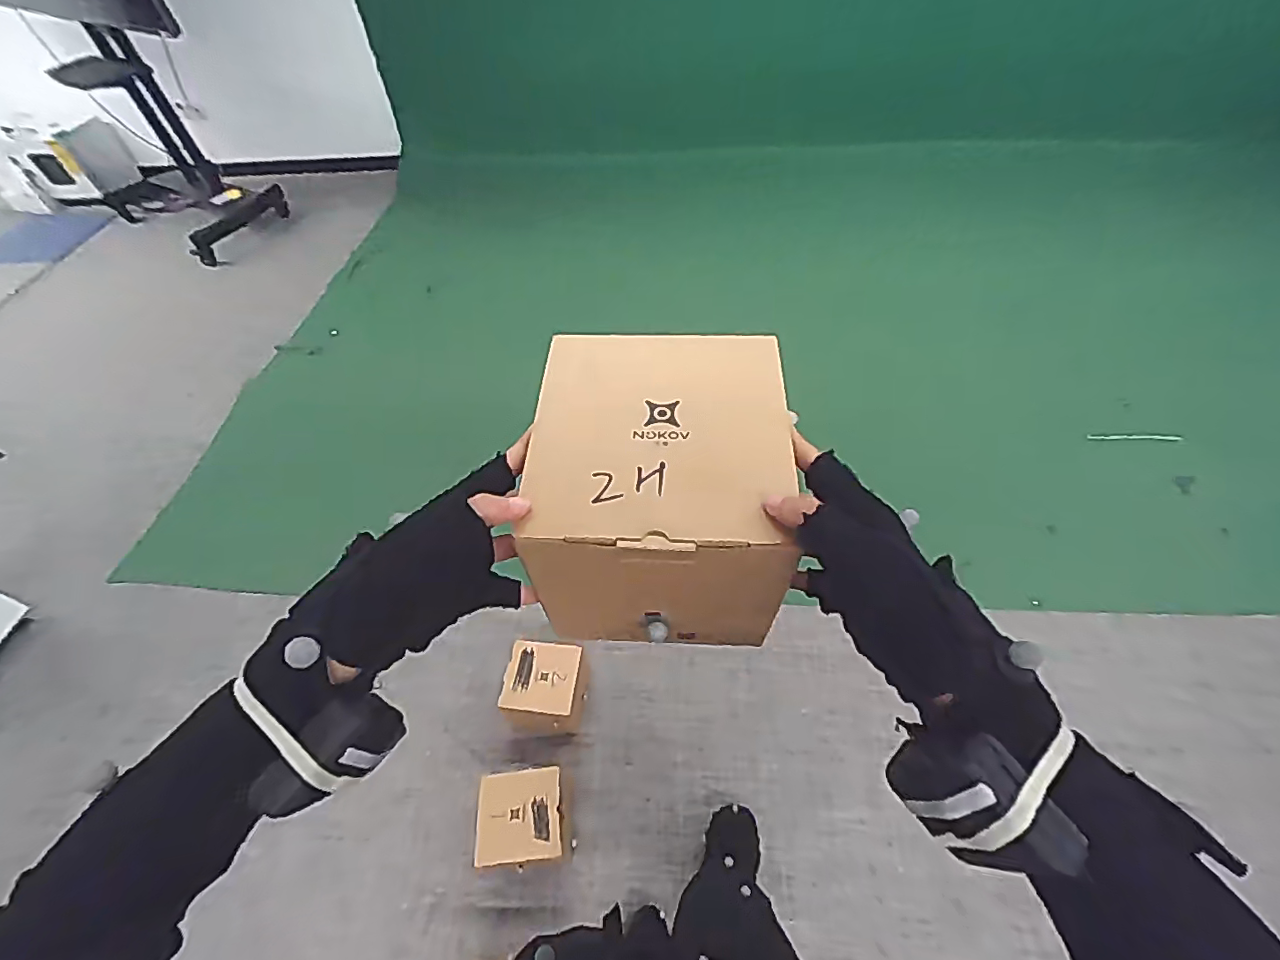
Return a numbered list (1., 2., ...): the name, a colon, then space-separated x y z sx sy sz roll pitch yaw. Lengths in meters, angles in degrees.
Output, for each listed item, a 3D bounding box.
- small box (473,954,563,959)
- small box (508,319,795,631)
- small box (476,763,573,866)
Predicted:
1. small box: -0.240 0.983 0.987 0.179 0.176 0.168 -2 52 0
2. small box: 0.013 -0.001 0.416 0.168 0.176 0.179 1 55 4
3. small box: -0.242 0.734 1.184 0.179 0.176 0.168 -7 51 -1
